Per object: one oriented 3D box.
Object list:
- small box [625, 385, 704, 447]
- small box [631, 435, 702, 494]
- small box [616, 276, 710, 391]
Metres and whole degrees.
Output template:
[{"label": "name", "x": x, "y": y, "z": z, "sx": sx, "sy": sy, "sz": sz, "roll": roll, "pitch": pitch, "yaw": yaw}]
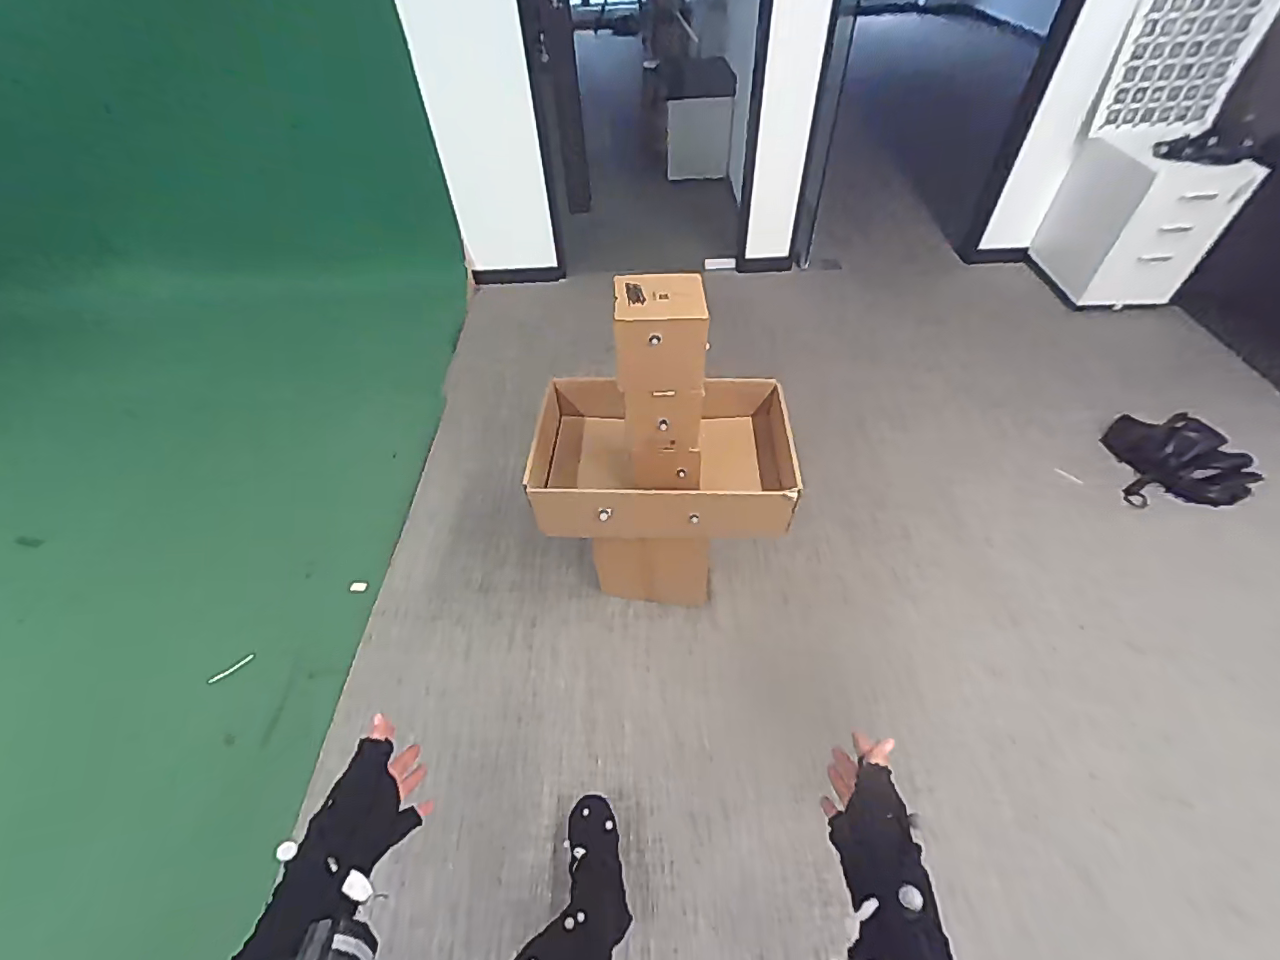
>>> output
[{"label": "small box", "x": 0.055, "y": -0.188, "z": 1.224, "sx": 0.168, "sy": 0.176, "sz": 0.179, "roll": 0, "pitch": 49, "yaw": 1}, {"label": "small box", "x": 0.065, "y": -0.078, "z": 1.345, "sx": 0.168, "sy": 0.176, "sz": 0.179, "roll": 0, "pitch": 47, "yaw": 1}, {"label": "small box", "x": 0.044, "y": -0.295, "z": 1.098, "sx": 0.179, "sy": 0.176, "sz": 0.168, "roll": -1, "pitch": 49, "yaw": -1}]
